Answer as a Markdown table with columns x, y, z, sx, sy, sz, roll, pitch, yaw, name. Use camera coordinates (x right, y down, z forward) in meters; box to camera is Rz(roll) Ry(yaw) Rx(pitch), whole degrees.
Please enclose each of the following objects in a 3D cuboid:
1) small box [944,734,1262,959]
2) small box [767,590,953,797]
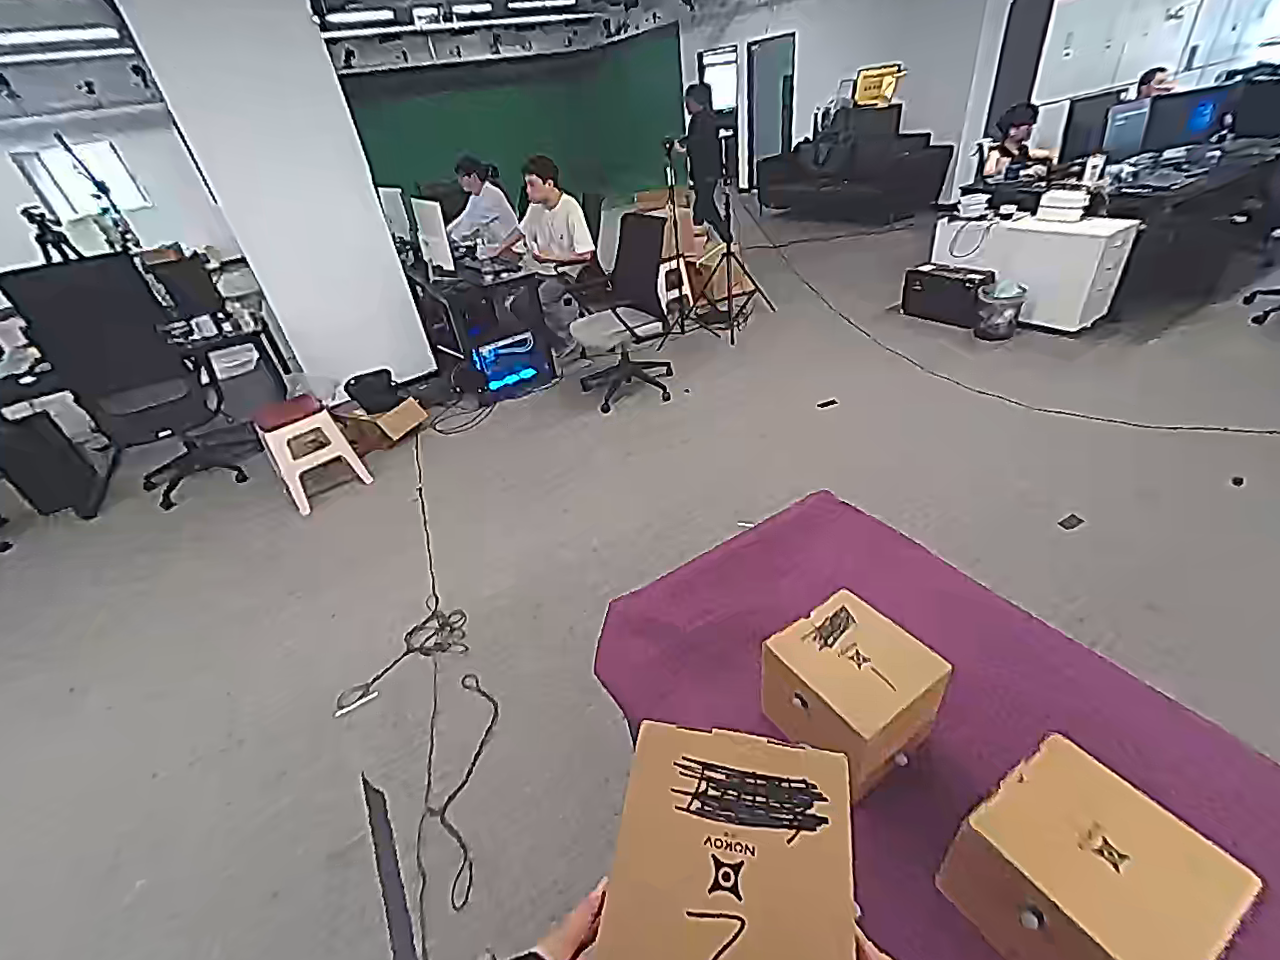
| x | y | z | sx | sy | sz | roll | pitch | yaw | name |
| --- | --- | --- | --- | --- | --- | --- | --- | --- | --- |
| 0.457 | 0.418 | 0.563 | 0.168 | 0.176 | 0.179 | -25 | 37 | -22 | small box |
| 0.296 | 0.298 | 0.766 | 0.168 | 0.176 | 0.179 | -26 | 39 | -22 | small box |
